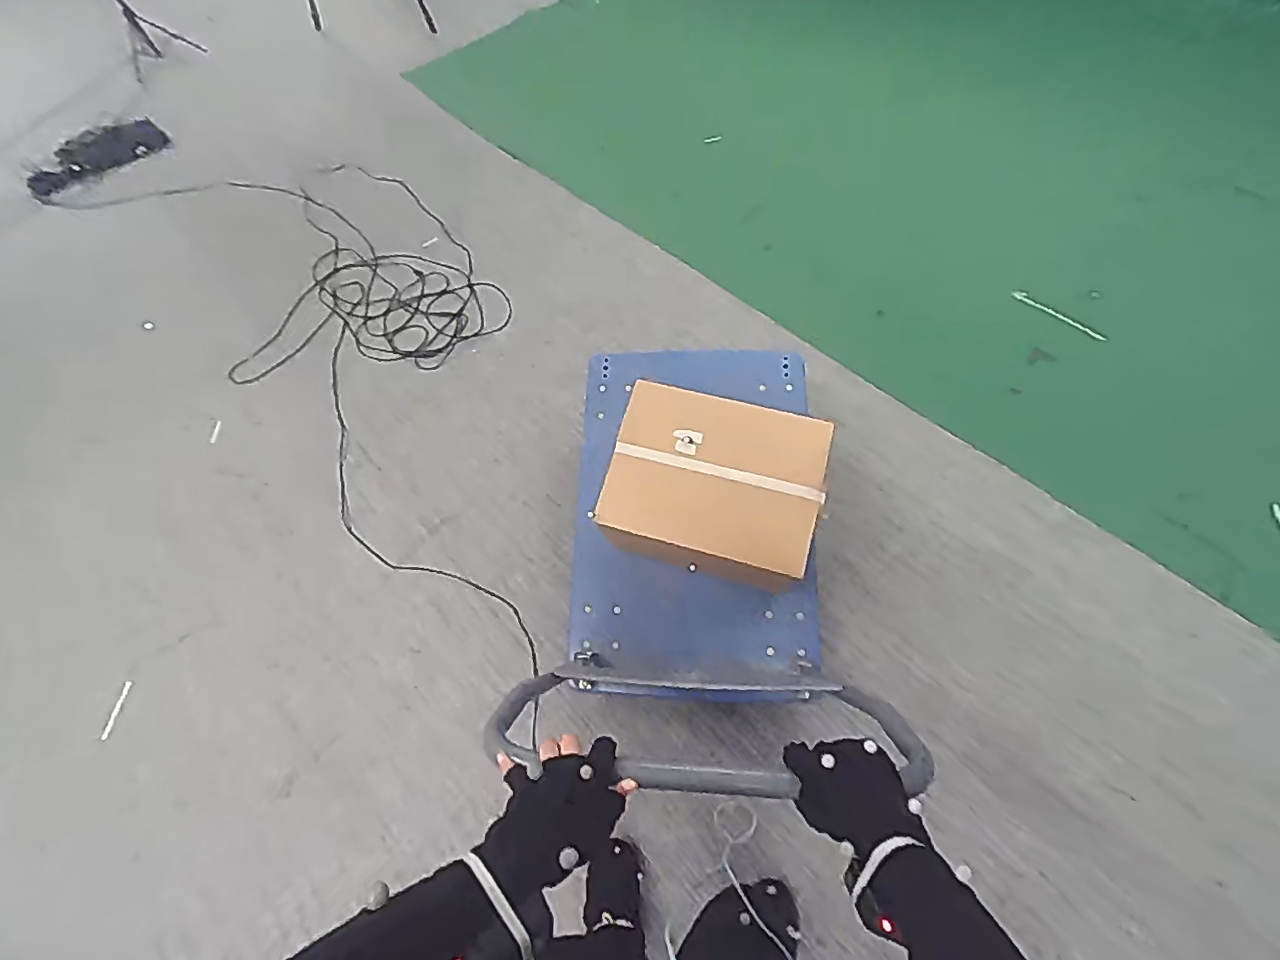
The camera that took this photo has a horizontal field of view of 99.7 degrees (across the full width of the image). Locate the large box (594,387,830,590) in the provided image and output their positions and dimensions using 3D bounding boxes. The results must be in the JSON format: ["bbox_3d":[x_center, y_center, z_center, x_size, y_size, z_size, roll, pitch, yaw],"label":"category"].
[{"bbox_3d":[0.157,0.035,1.182,0.408,0.320,0.320,14,75,10],"label":"large box"}]
